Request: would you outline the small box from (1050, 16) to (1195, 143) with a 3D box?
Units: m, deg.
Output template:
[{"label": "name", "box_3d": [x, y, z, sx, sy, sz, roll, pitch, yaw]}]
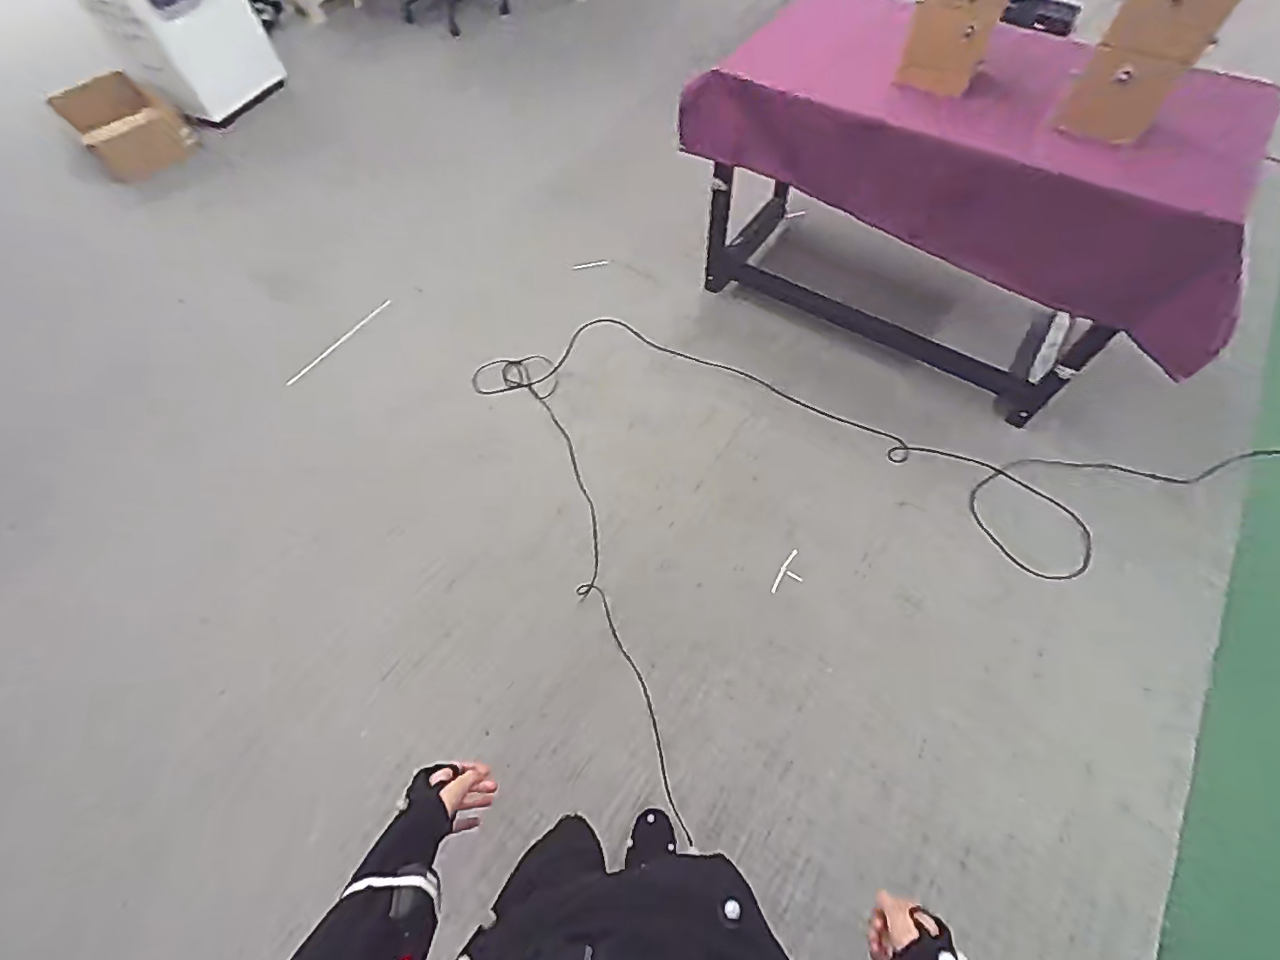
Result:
[{"label": "small box", "box_3d": [1.038, -0.867, 1.166, 0.179, 0.176, 0.168, 32, 67, 18]}]

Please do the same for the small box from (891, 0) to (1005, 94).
[{"label": "small box", "box_3d": [0.732, -1.062, 1.290, 0.179, 0.176, 0.168, 27, 65, 16]}]

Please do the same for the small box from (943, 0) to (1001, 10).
[{"label": "small box", "box_3d": [0.735, -1.147, 1.148, 0.168, 0.176, 0.179, 27, 65, 16]}]

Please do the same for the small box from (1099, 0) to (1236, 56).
[{"label": "small box", "box_3d": [1.034, -0.943, 1.021, 0.179, 0.176, 0.168, 31, 67, 19]}]
